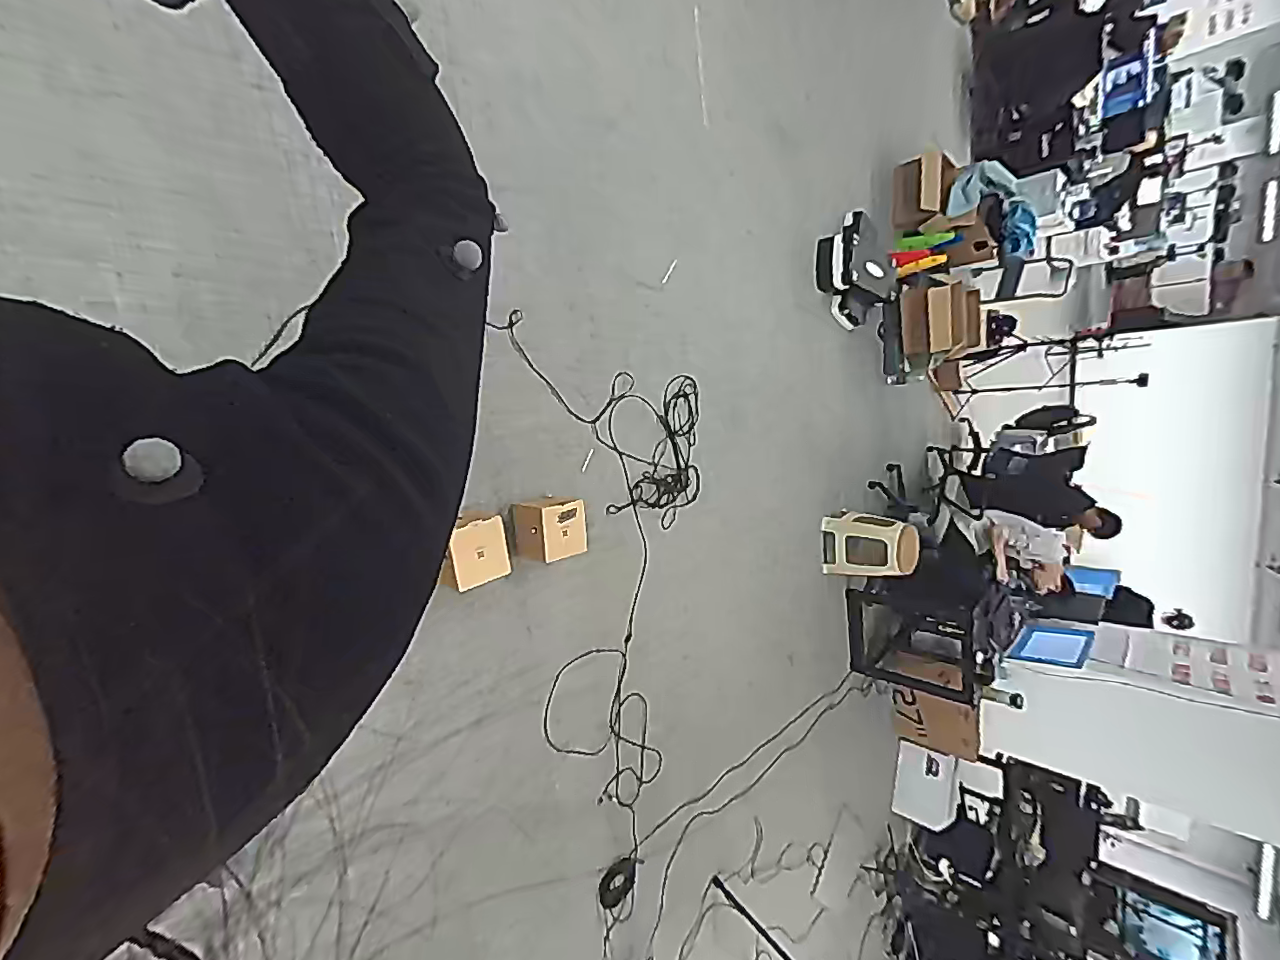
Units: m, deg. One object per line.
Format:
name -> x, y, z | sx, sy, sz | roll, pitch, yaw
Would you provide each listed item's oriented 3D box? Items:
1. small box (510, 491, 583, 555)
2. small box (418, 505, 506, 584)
small box -> -0.306, 0.132, 1.749 | 0.168, 0.176, 0.179 | -11, 101, -45
small box -> -0.509, 0.177, 1.546 | 0.168, 0.176, 0.179 | -18, 104, -44
